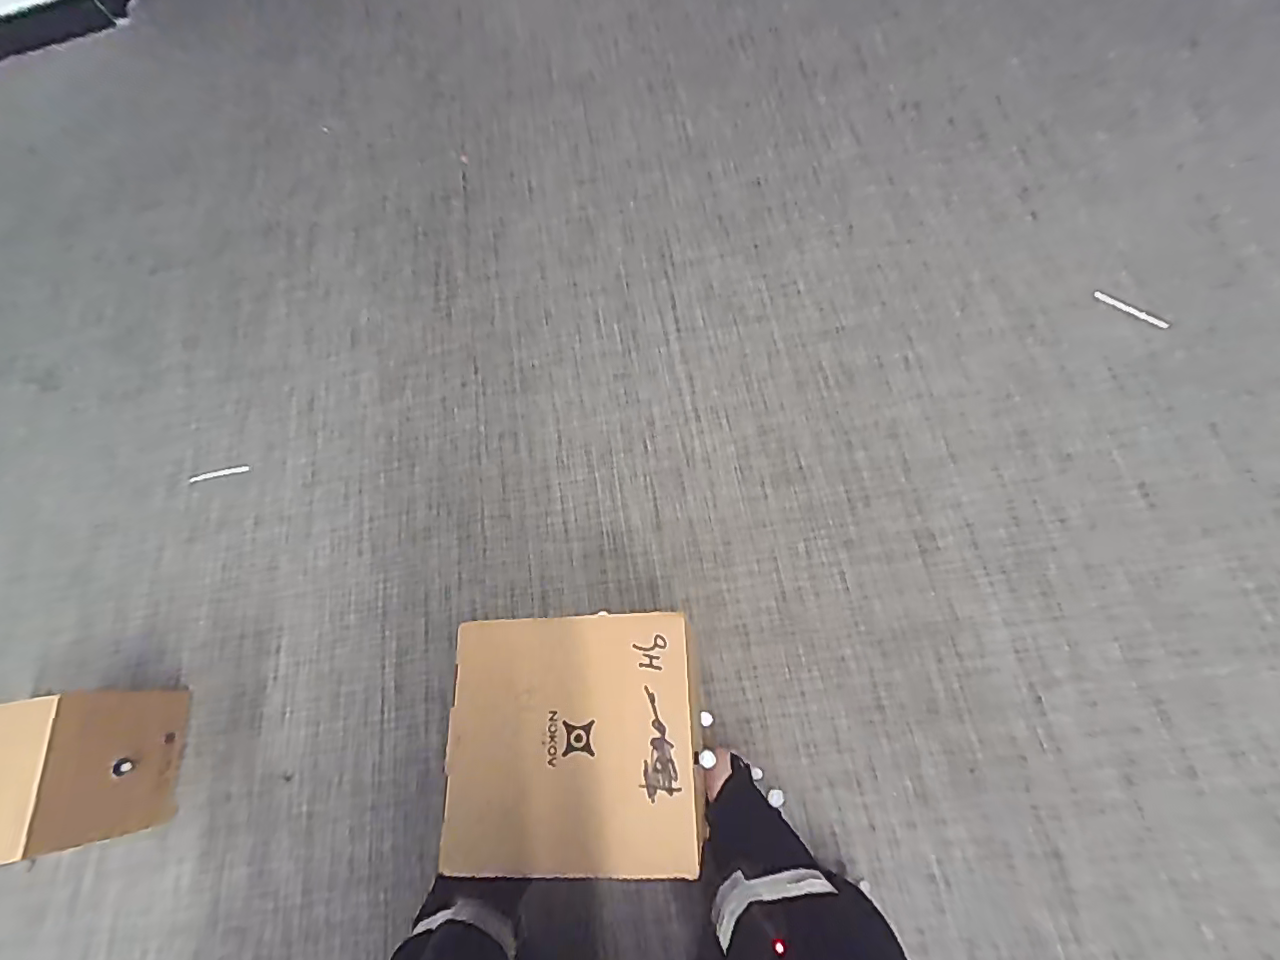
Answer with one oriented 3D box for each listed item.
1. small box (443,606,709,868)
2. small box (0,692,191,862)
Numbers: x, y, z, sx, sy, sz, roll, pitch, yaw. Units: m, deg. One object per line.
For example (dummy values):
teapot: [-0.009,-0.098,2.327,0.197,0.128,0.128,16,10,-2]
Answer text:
small box: [-0.038,0.203,0.456,0.179,0.176,0.168,-5,69,8]
small box: [-0.720,0.364,0.677,0.179,0.176,0.168,-11,67,5]
